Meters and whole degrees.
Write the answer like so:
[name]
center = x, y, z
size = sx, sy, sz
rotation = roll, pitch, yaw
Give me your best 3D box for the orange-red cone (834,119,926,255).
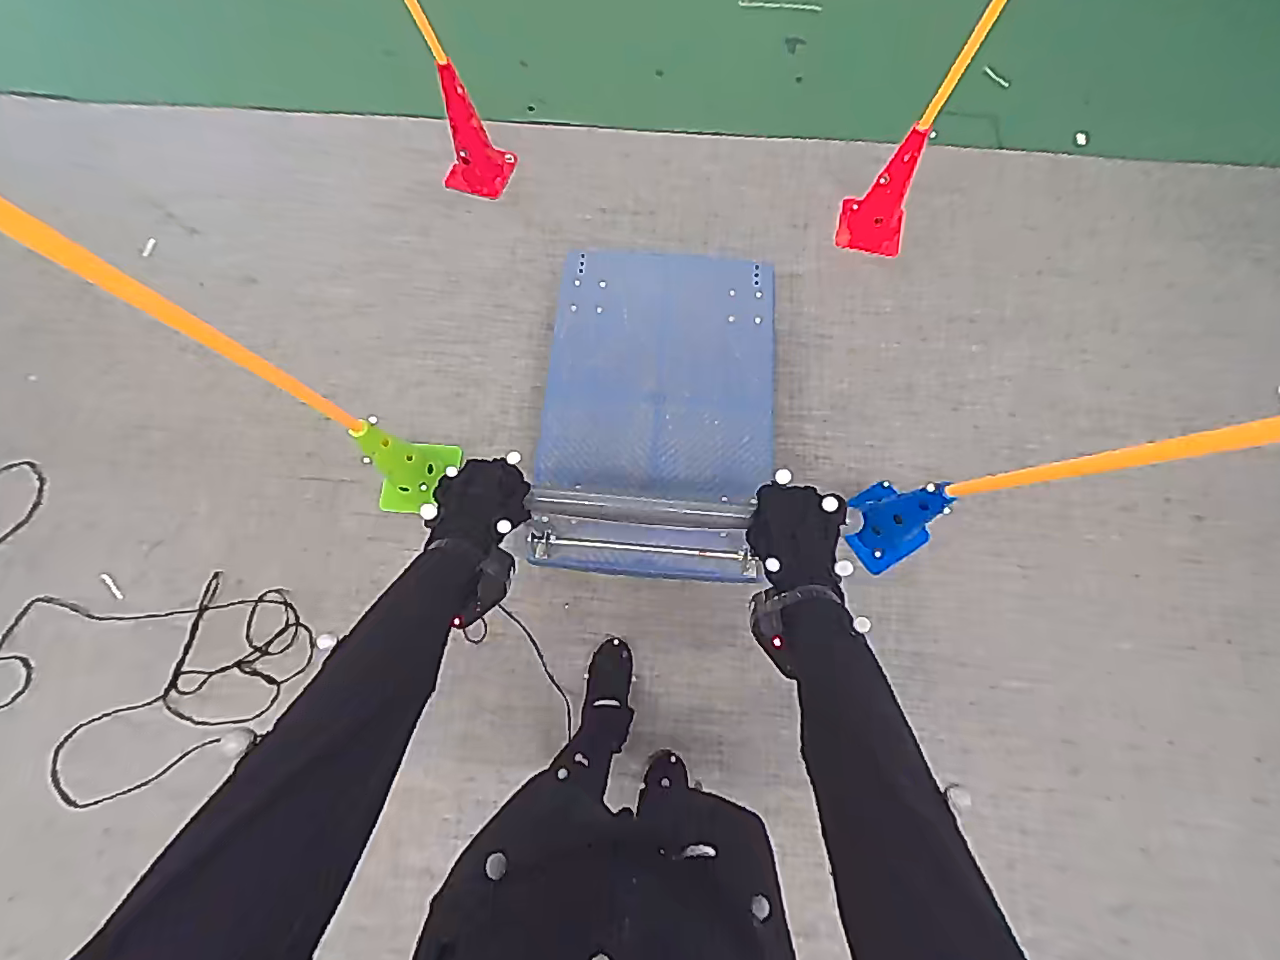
[orange-red cone]
center = 0.724, -0.859, 1.556
size = 0.198, 0.360, 0.199
rotation = 15, 74, 6
